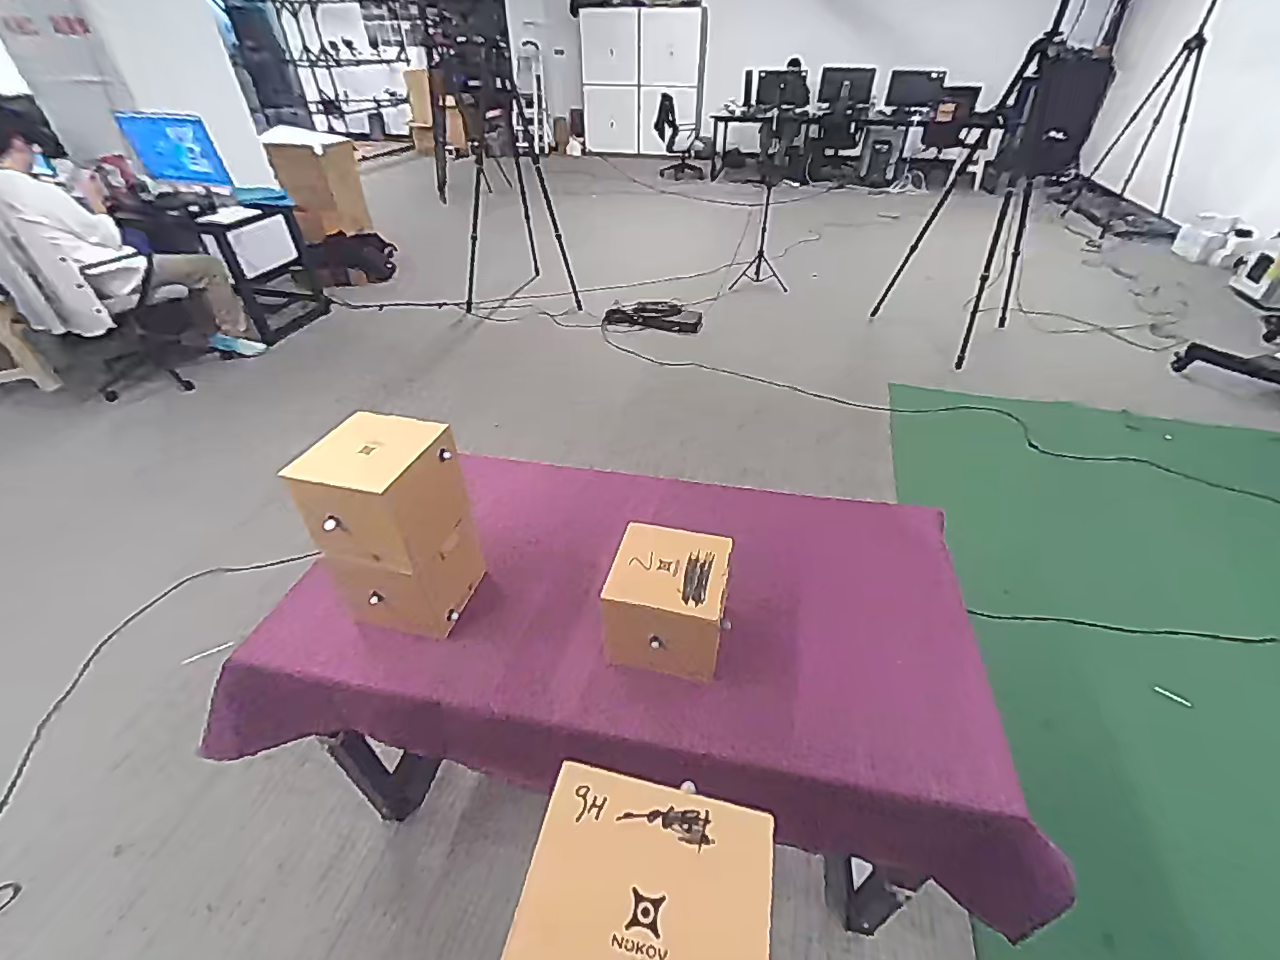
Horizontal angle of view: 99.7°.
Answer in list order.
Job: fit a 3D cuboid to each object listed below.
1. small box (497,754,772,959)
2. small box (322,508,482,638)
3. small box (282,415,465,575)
[{"bbox_3d":[-0.004,0.347,0.410,0.168,0.176,0.179,12,44,8],"label":"small box"},{"bbox_3d":[-0.395,0.150,0.938,0.179,0.176,0.168,8,39,10],"label":"small box"},{"bbox_3d":[-0.392,0.022,0.837,0.168,0.176,0.179,9,39,11],"label":"small box"}]
